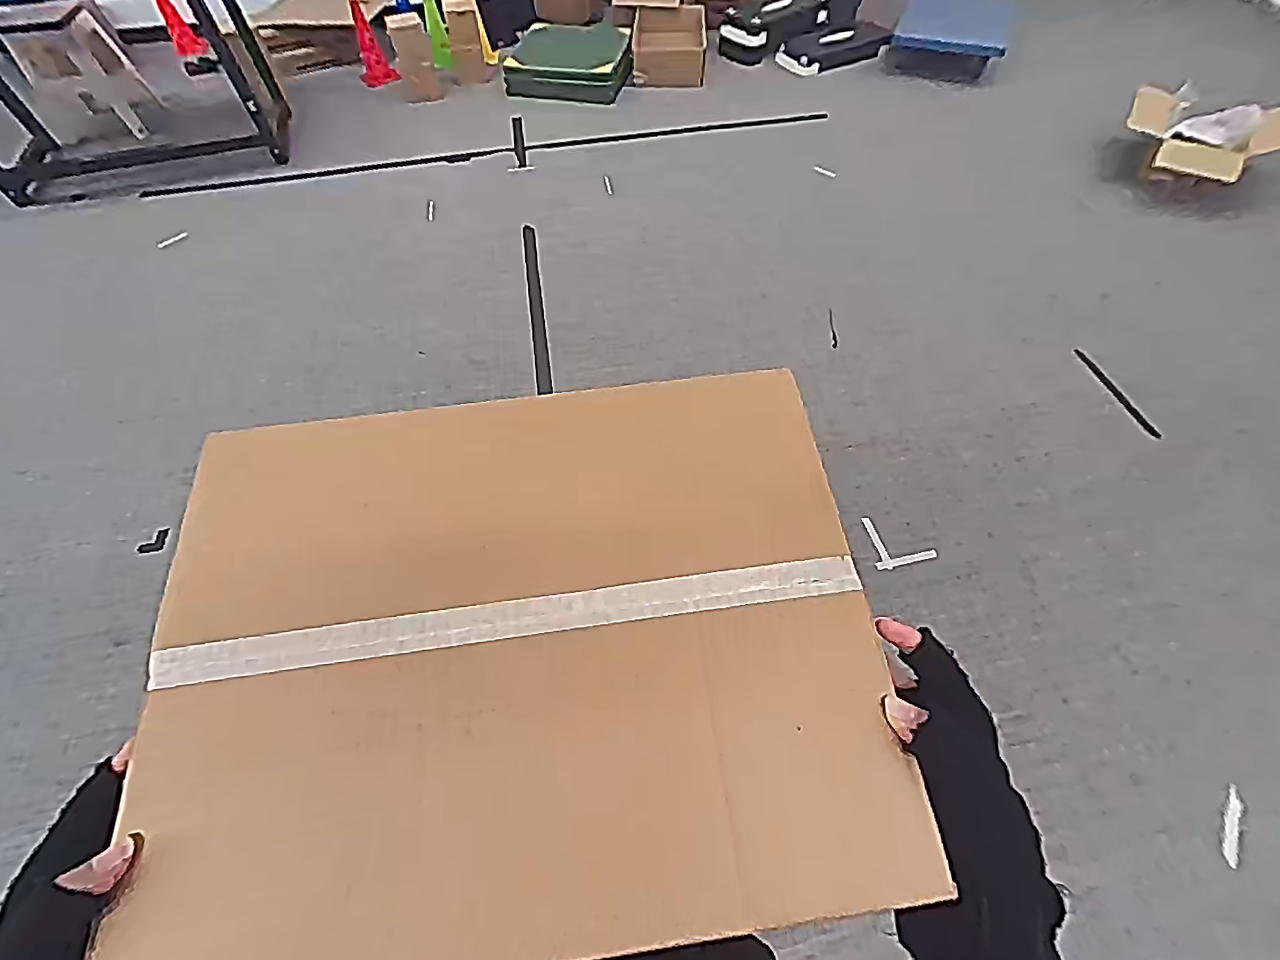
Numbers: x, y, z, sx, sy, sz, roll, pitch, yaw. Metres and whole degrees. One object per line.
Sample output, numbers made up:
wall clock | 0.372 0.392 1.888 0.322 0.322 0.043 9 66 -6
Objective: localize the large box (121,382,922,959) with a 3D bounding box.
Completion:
large box | -0.071 0.153 0.461 0.408 0.320 0.320 -7 65 -3
